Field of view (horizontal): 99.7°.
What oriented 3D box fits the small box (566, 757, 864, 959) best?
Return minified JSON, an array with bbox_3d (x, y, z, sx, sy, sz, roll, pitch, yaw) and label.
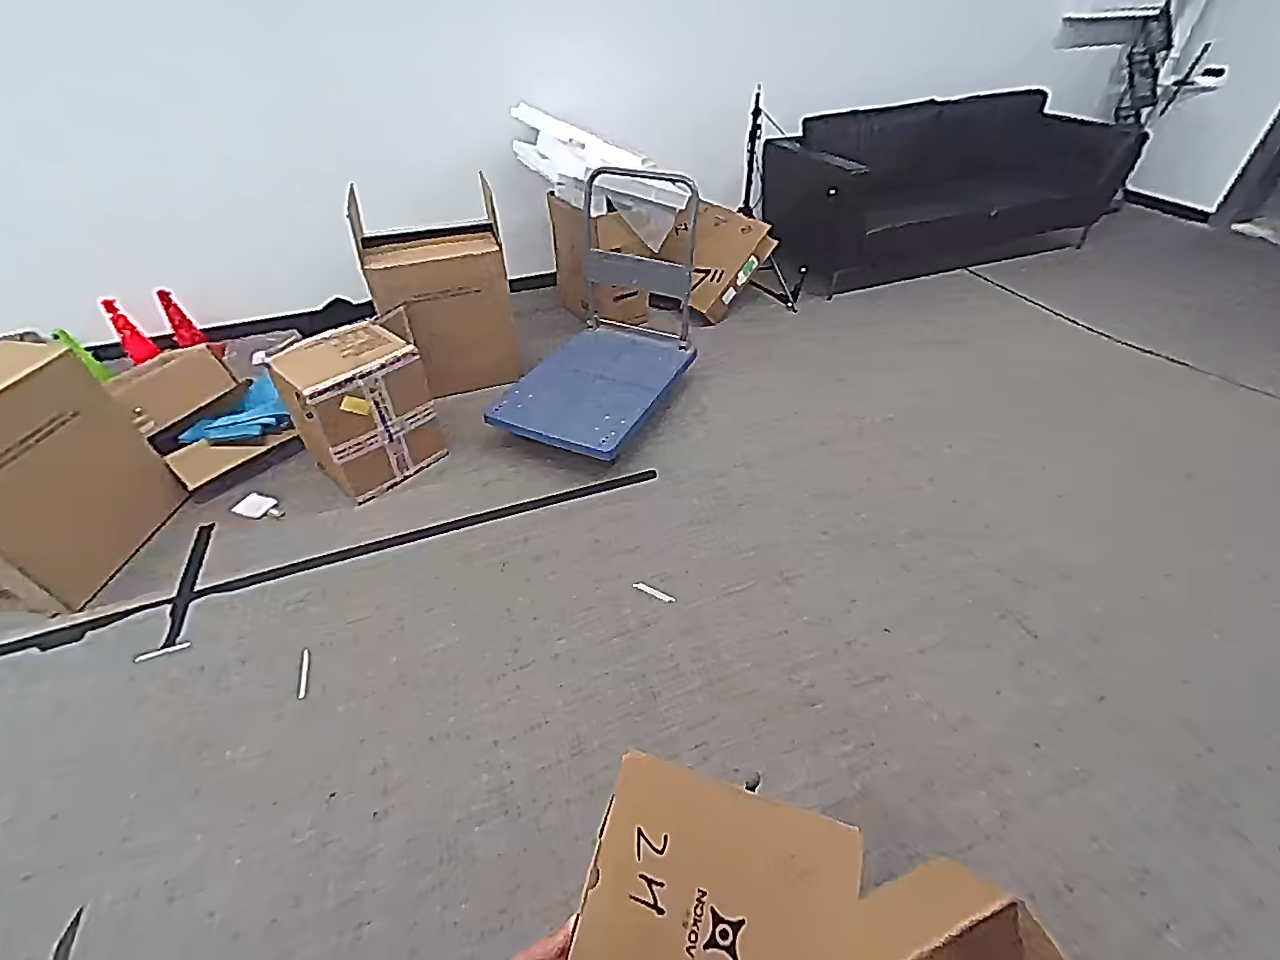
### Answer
[{"bbox_3d":[0.055,0.332,0.423,0.179,0.176,0.168,13,63,13],"label":"small box"}]
